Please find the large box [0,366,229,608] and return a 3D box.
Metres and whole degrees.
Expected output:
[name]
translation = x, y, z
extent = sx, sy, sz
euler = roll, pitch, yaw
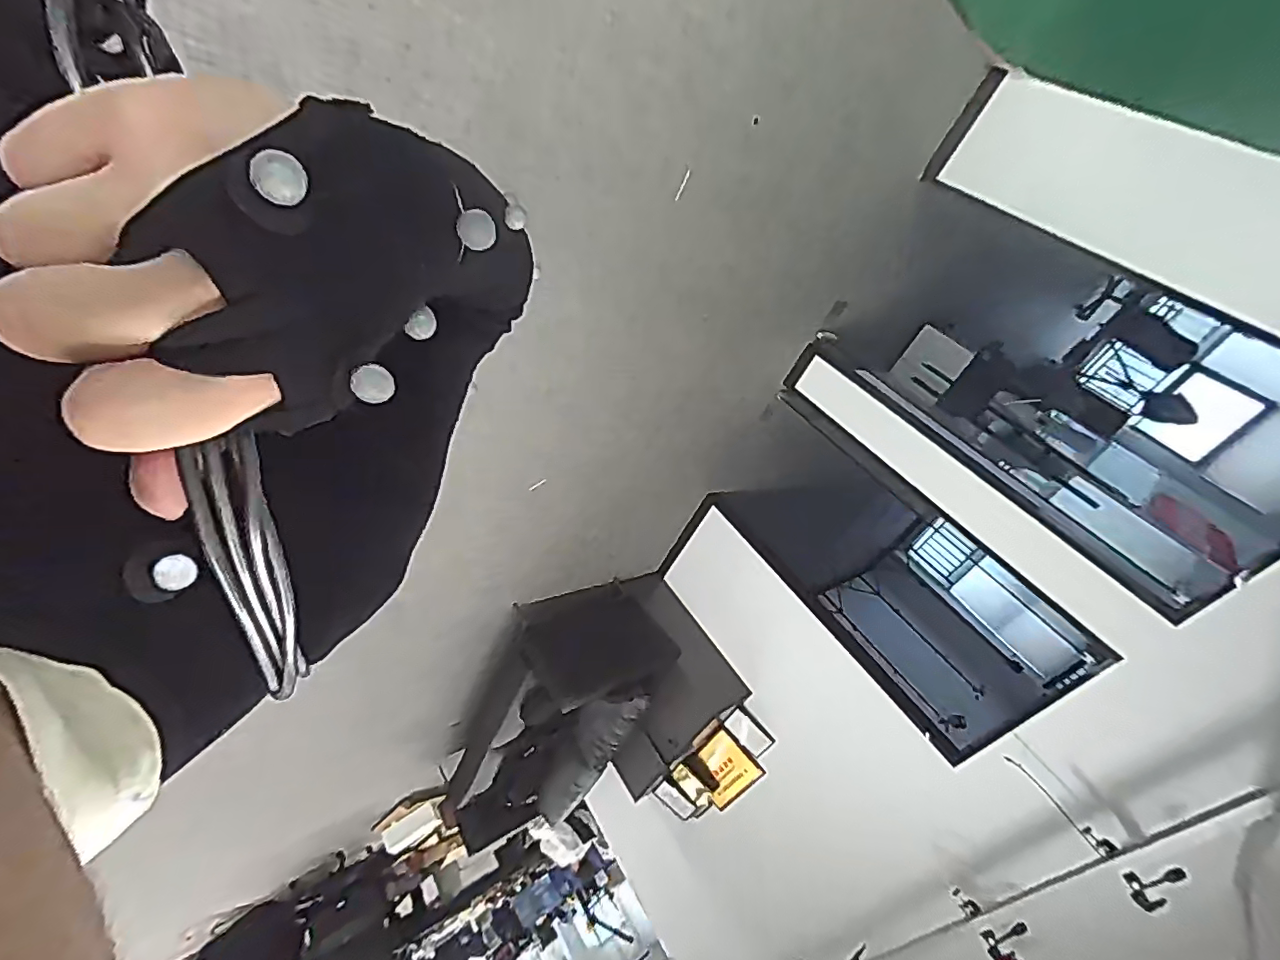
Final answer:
[large box]
translation = -1.130, 0.004, 1.181
extent = 0.320, 0.320, 0.408
euler = -5, 135, -45
